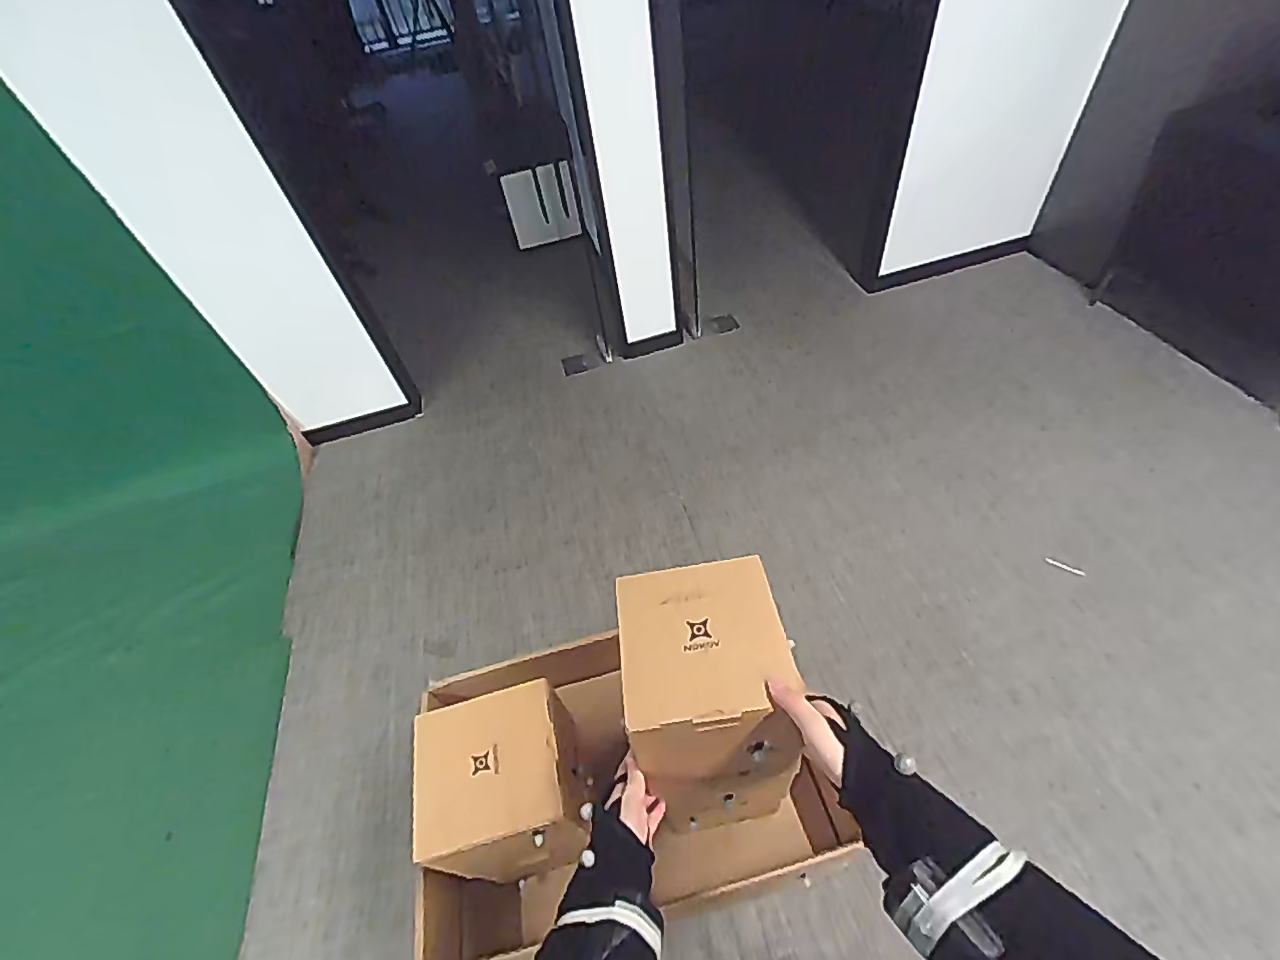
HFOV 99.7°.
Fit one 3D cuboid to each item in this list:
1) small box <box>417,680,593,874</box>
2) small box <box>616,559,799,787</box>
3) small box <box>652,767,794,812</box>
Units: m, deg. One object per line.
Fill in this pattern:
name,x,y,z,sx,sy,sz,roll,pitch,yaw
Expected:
small box,-0.175,0.399,0.721,0.179,0.176,0.168,-16,49,-5
small box,0.071,0.217,0.598,0.168,0.176,0.179,-10,41,3
small box,0.098,0.330,0.727,0.168,0.176,0.179,-11,49,1
